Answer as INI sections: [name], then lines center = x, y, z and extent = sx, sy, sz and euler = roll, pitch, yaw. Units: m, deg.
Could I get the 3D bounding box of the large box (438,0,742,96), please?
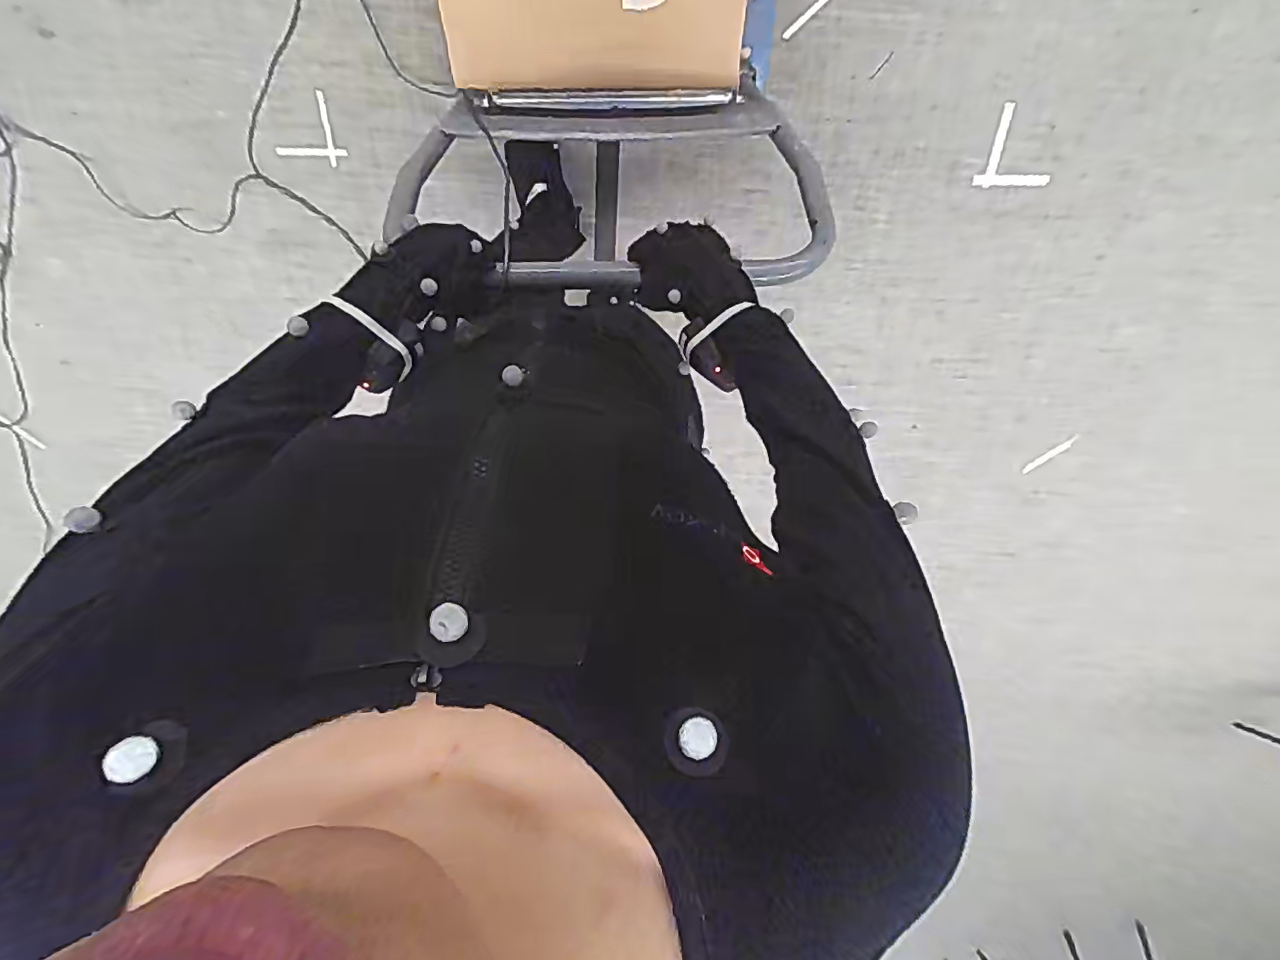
[large box]
center = -0.072, -0.767, 0.771
extent = 0.408, 0.320, 0.320
euler = -2, 134, -2
